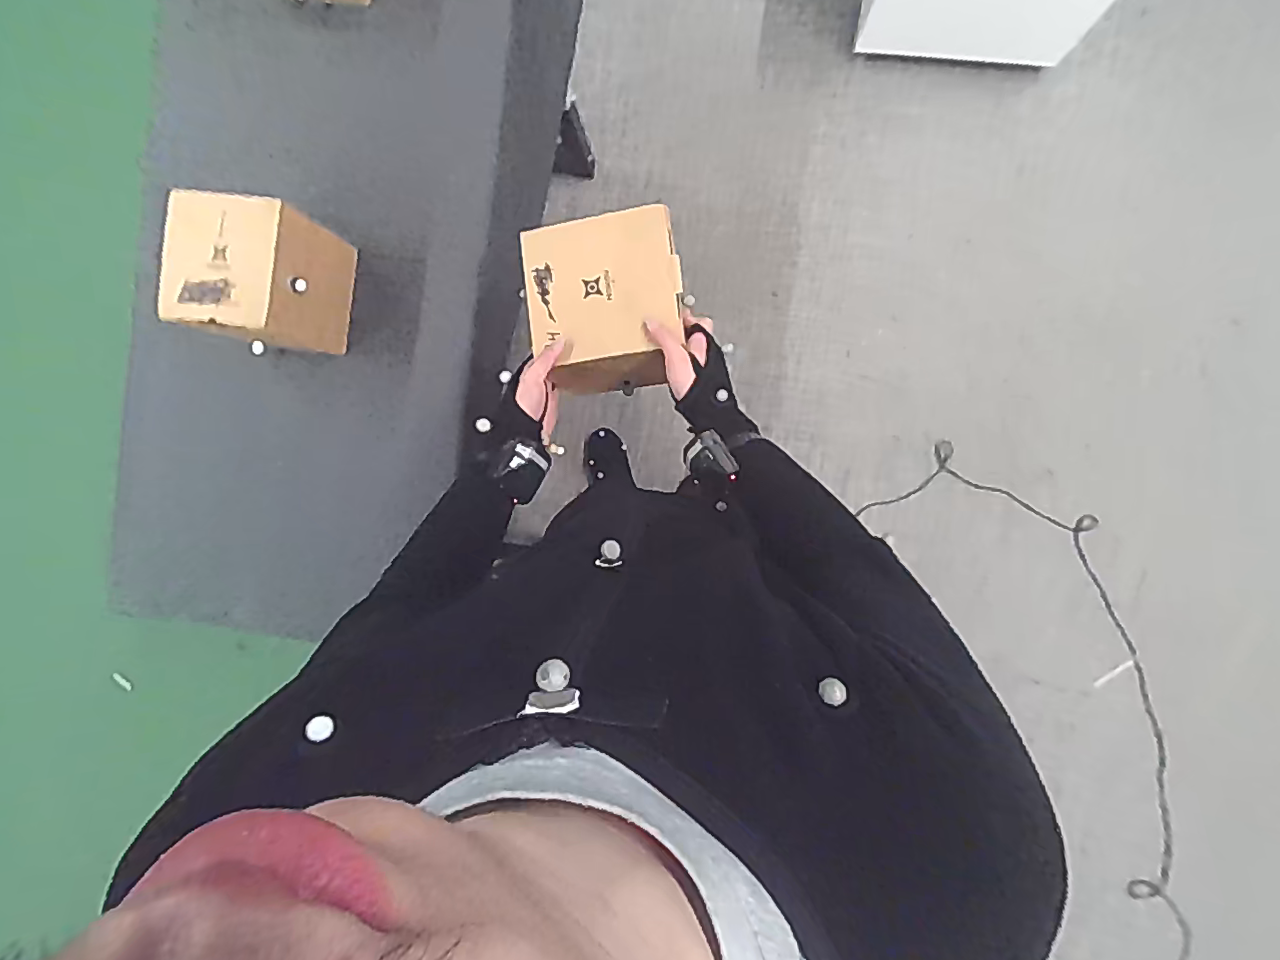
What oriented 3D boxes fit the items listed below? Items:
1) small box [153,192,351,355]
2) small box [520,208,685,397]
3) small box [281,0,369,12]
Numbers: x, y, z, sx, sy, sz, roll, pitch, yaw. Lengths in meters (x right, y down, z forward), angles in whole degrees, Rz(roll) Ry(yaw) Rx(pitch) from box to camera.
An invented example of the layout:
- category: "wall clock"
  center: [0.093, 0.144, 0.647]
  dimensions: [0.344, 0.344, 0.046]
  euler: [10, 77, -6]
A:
- category: "small box"
  center: [-0.561, -0.294, 0.804]
  dimensions: [0.168, 0.176, 0.179]
  euler: [8, 91, 5]
- category: "small box"
  center: [-0.036, -0.210, 0.686]
  dimensions: [0.179, 0.176, 0.168]
  euler: [-7, 84, 7]
- category: "small box"
  center: [-0.506, -0.842, 0.785]
  dimensions: [0.168, 0.176, 0.179]
  euler: [10, 94, 7]
